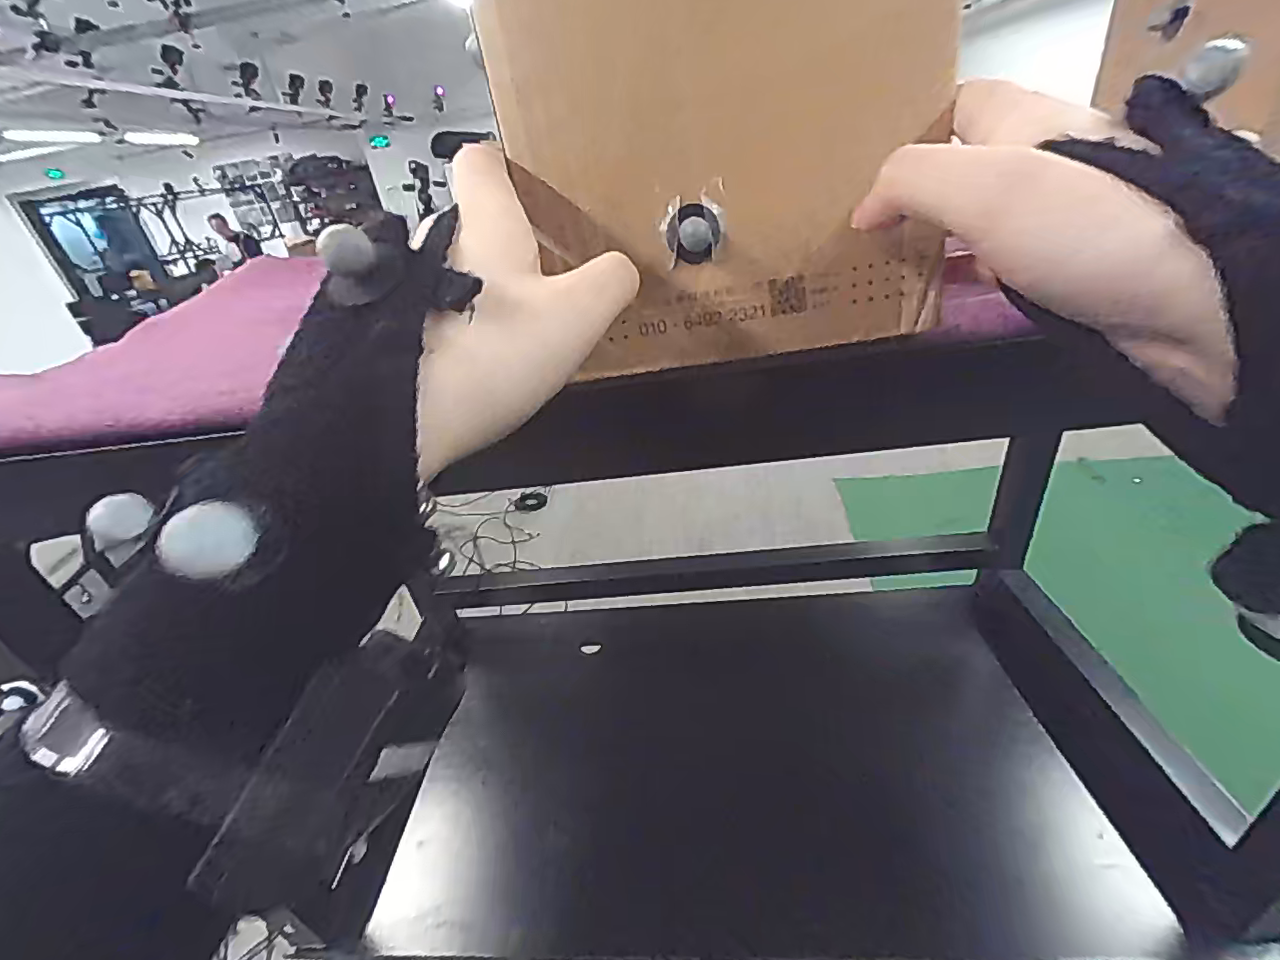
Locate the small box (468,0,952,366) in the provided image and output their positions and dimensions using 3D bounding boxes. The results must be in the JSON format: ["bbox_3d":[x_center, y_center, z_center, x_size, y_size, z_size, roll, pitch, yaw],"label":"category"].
[{"bbox_3d":[0.030,-0.165,0.269,0.168,0.176,0.179,-7,27,7],"label":"small box"}]
